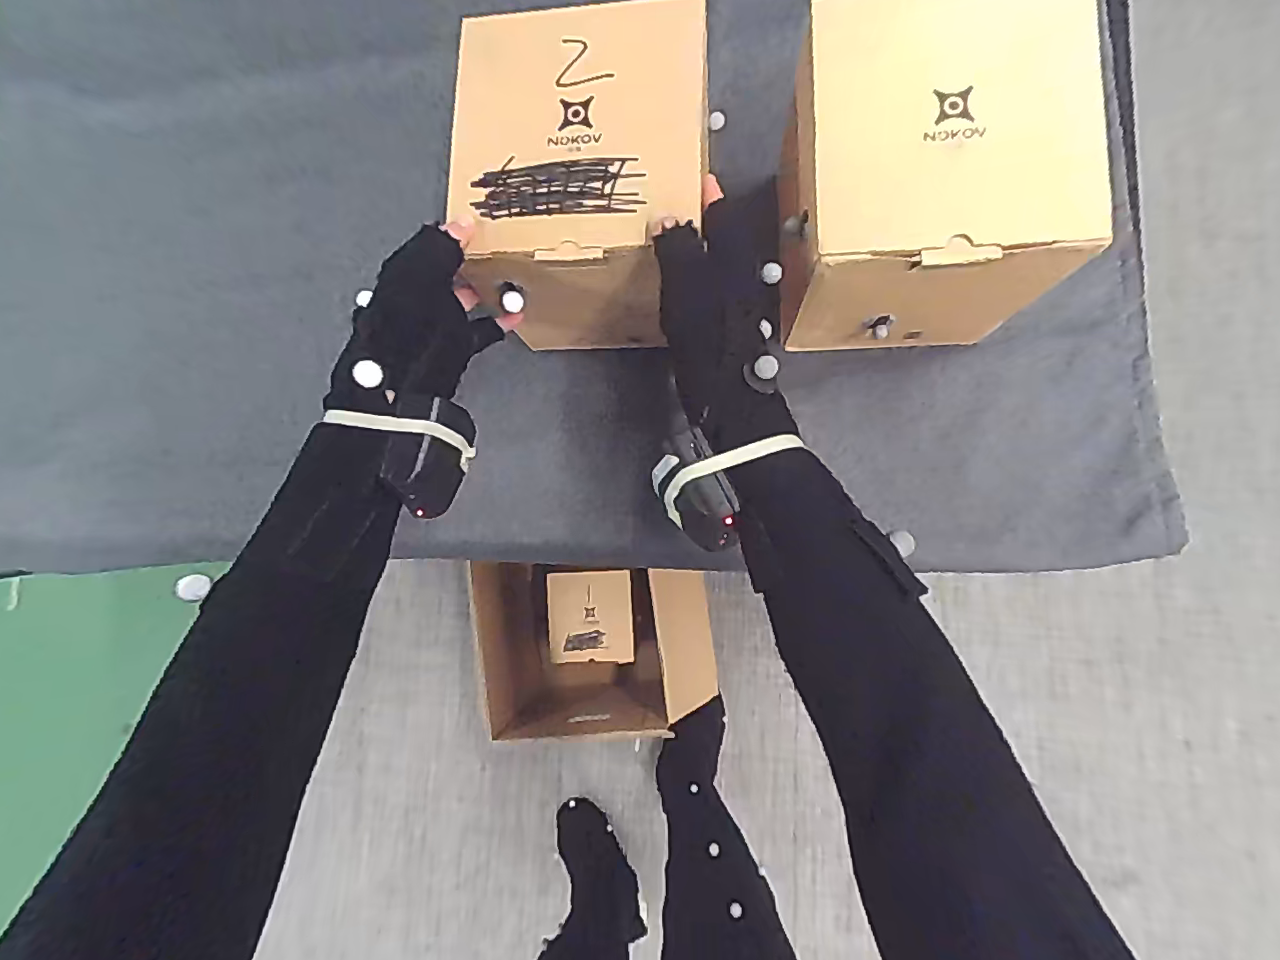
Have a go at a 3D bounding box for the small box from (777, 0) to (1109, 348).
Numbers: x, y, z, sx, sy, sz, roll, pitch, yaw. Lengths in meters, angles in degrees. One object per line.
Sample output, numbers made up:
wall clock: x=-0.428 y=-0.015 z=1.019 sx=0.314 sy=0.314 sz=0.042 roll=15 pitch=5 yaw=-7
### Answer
small box: x=0.198 y=-0.214 z=0.407 sx=0.168 sy=0.176 sz=0.179 roll=-2 pitch=86 yaw=7
